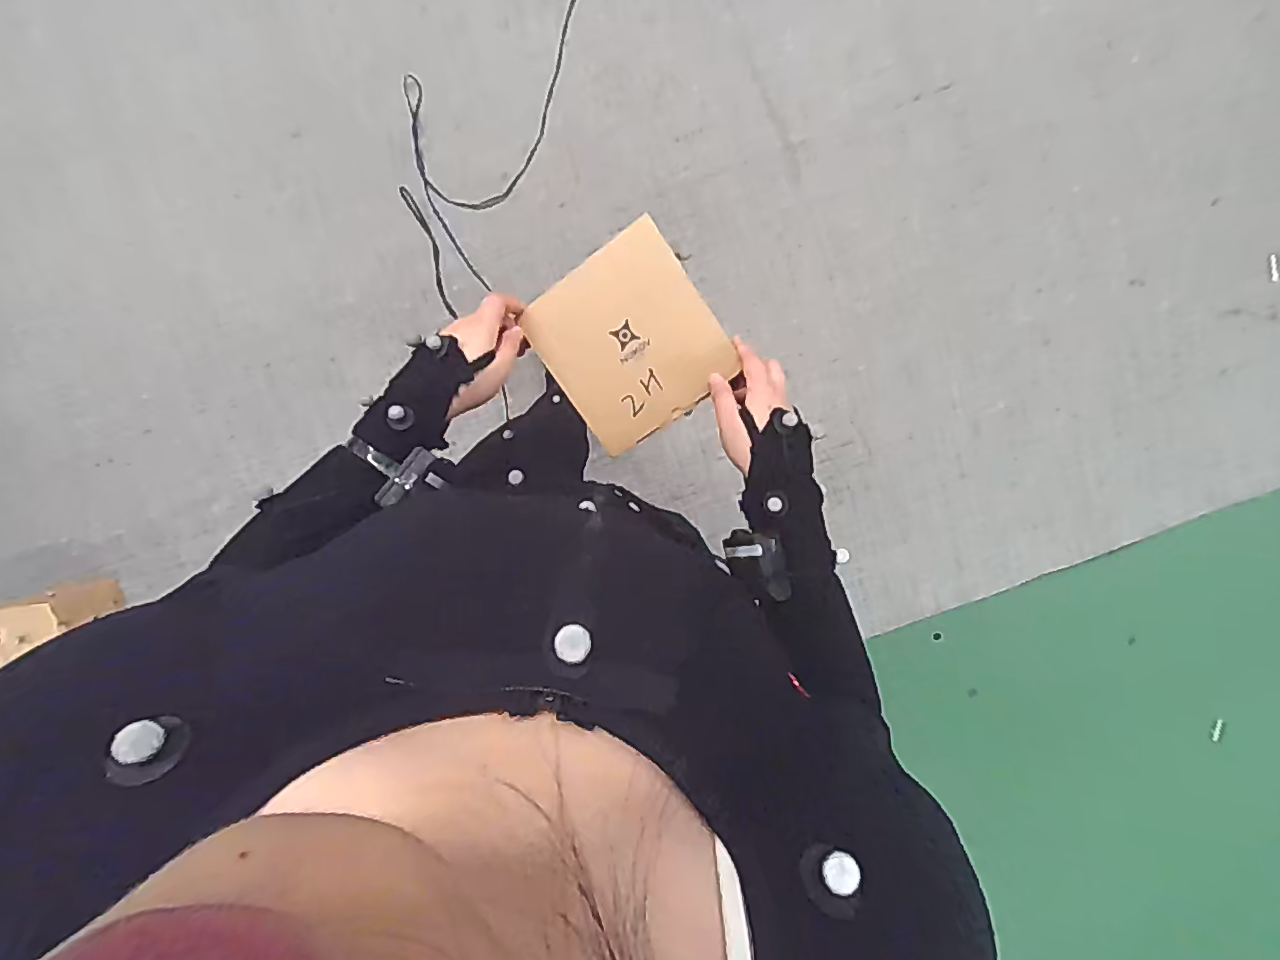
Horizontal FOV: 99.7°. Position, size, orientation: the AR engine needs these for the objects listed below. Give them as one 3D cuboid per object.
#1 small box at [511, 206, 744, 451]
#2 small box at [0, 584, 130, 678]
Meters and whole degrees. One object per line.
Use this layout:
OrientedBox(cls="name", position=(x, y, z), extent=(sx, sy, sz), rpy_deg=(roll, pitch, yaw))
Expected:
OrientedBox(cls="small box", position=(-0.004, -0.159, 0.598), extent=(0.168, 0.176, 0.179), rpy_deg=(-34, 99, 16))
OrientedBox(cls="small box", position=(-1.466, 0.377, 1.382), extent=(0.179, 0.176, 0.168), rpy_deg=(-8, 100, -1))
